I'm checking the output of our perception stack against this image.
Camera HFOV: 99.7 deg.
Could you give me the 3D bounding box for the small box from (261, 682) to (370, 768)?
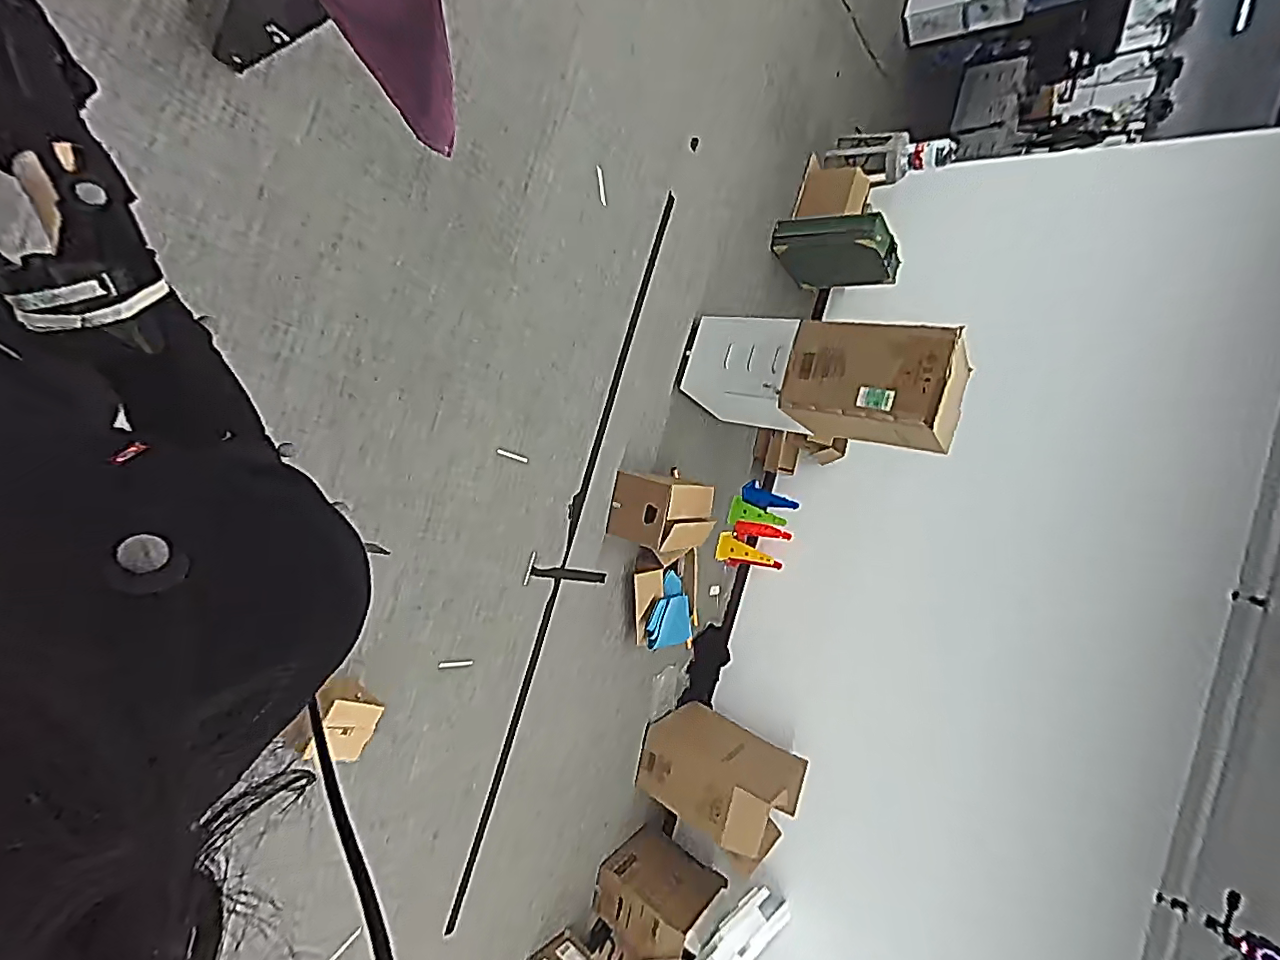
[{"bbox_3d":[-0.926,0.697,1.544,0.179,0.176,0.168,47,63,-51],"label":"small box"}]
